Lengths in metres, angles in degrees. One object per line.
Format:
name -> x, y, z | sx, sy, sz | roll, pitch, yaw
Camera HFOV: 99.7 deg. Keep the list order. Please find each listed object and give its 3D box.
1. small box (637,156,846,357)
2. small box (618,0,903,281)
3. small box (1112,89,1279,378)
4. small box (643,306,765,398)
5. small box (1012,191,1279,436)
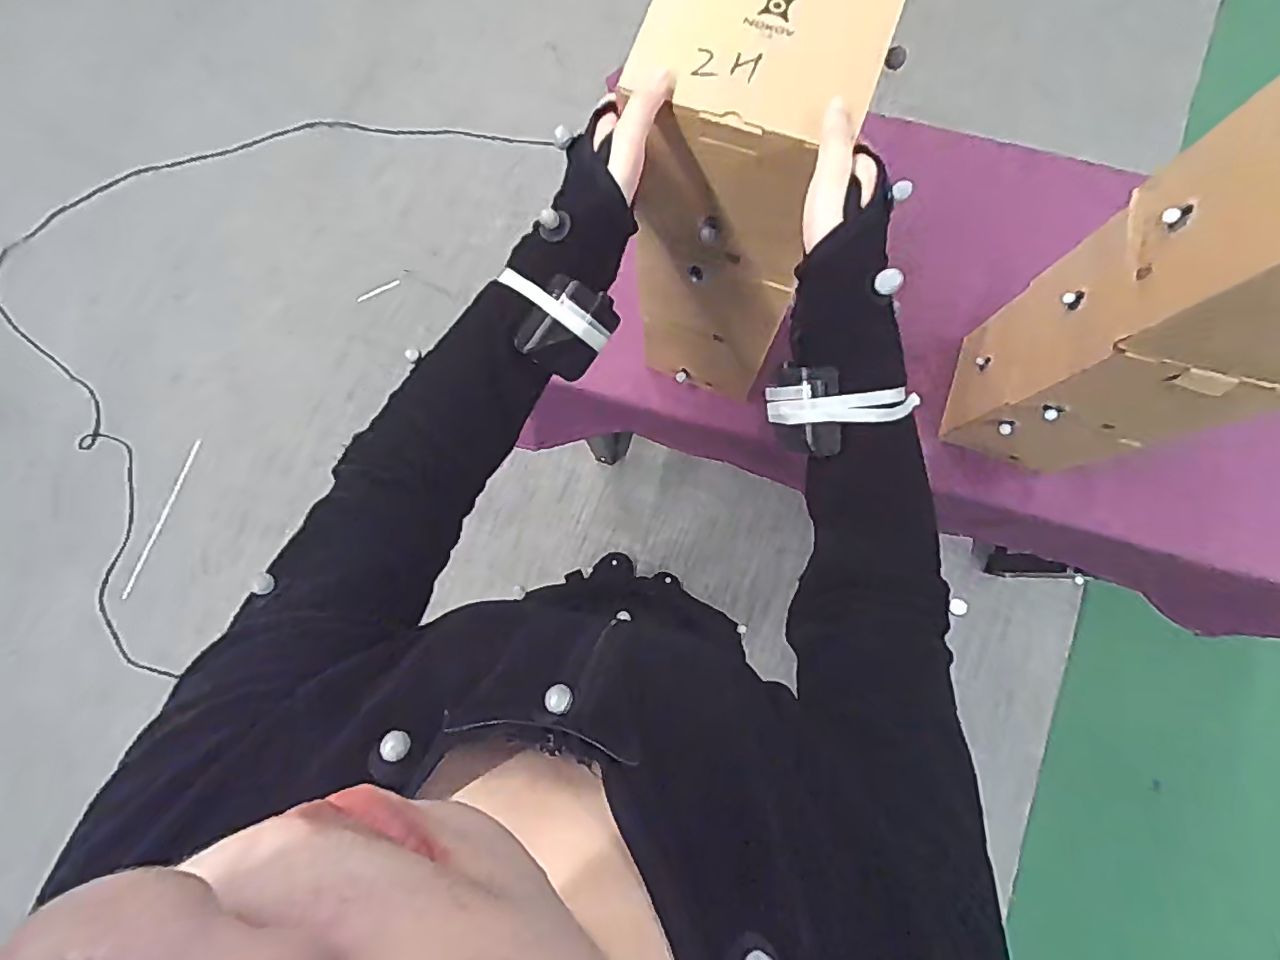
small box -> 0.105, -0.271, 0.614 | 0.168, 0.176, 0.179 | 21, 81, 7
small box -> 0.092, -0.304, 0.451 | 0.168, 0.176, 0.179 | 20, 82, 6
small box -> 0.532, -0.194, 0.421 | 0.179, 0.176, 0.168 | 14, 80, 5
small box -> 0.111, -0.243, 0.777 | 0.168, 0.176, 0.179 | 21, 82, 6
small box -> 0.541, -0.162, 0.581 | 0.168, 0.176, 0.179 | 16, 80, 4
